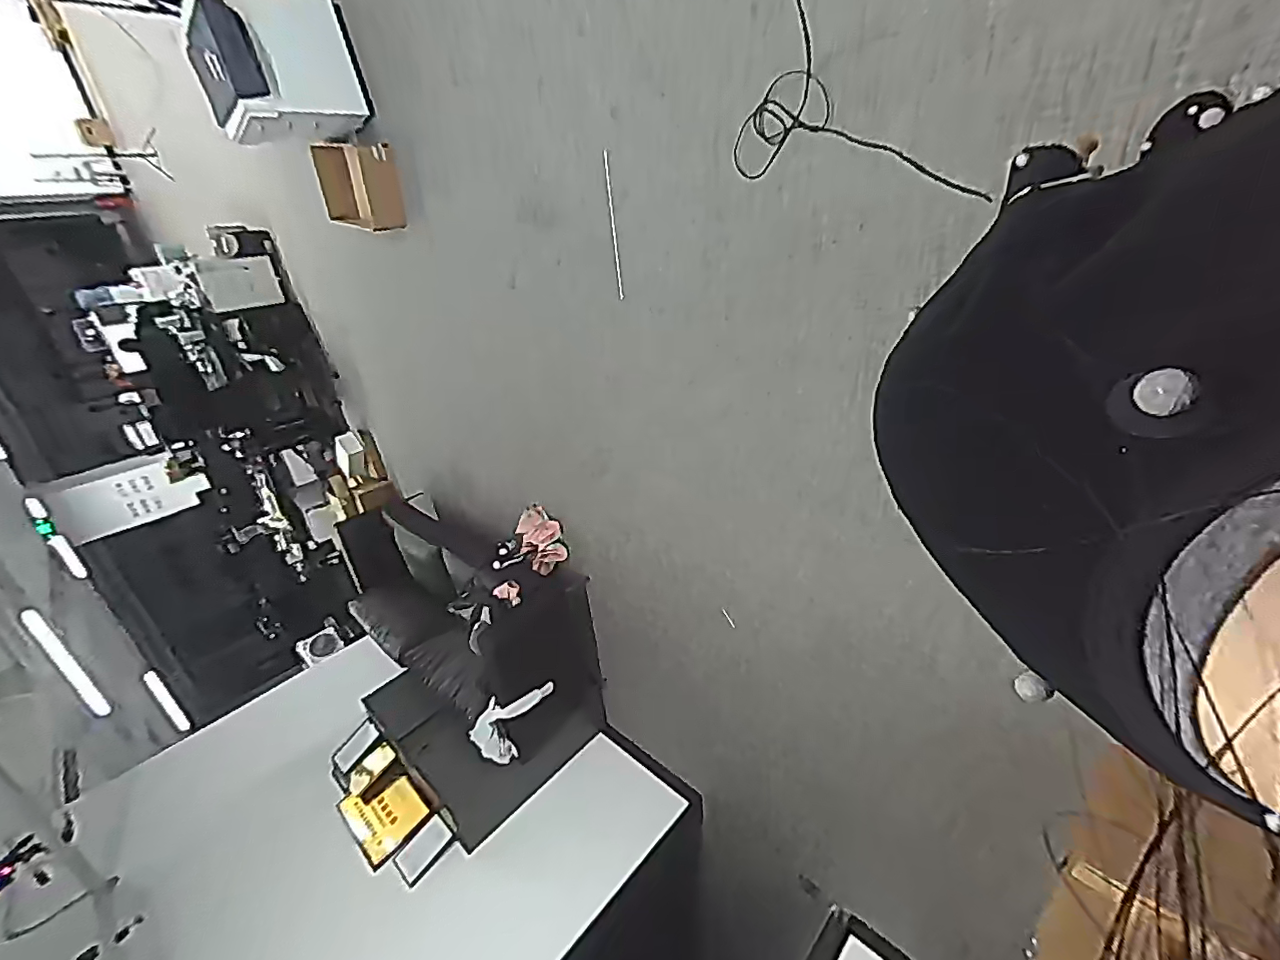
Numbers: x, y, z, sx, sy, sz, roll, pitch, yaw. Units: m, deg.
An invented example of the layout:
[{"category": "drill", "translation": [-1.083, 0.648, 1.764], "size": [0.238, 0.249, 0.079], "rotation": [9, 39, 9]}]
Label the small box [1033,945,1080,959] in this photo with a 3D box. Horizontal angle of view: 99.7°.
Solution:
[{"category": "small box", "translation": [0.831, 1.046, 1.029], "size": [0.179, 0.176, 0.168], "rotation": [21, 126, 39]}]
